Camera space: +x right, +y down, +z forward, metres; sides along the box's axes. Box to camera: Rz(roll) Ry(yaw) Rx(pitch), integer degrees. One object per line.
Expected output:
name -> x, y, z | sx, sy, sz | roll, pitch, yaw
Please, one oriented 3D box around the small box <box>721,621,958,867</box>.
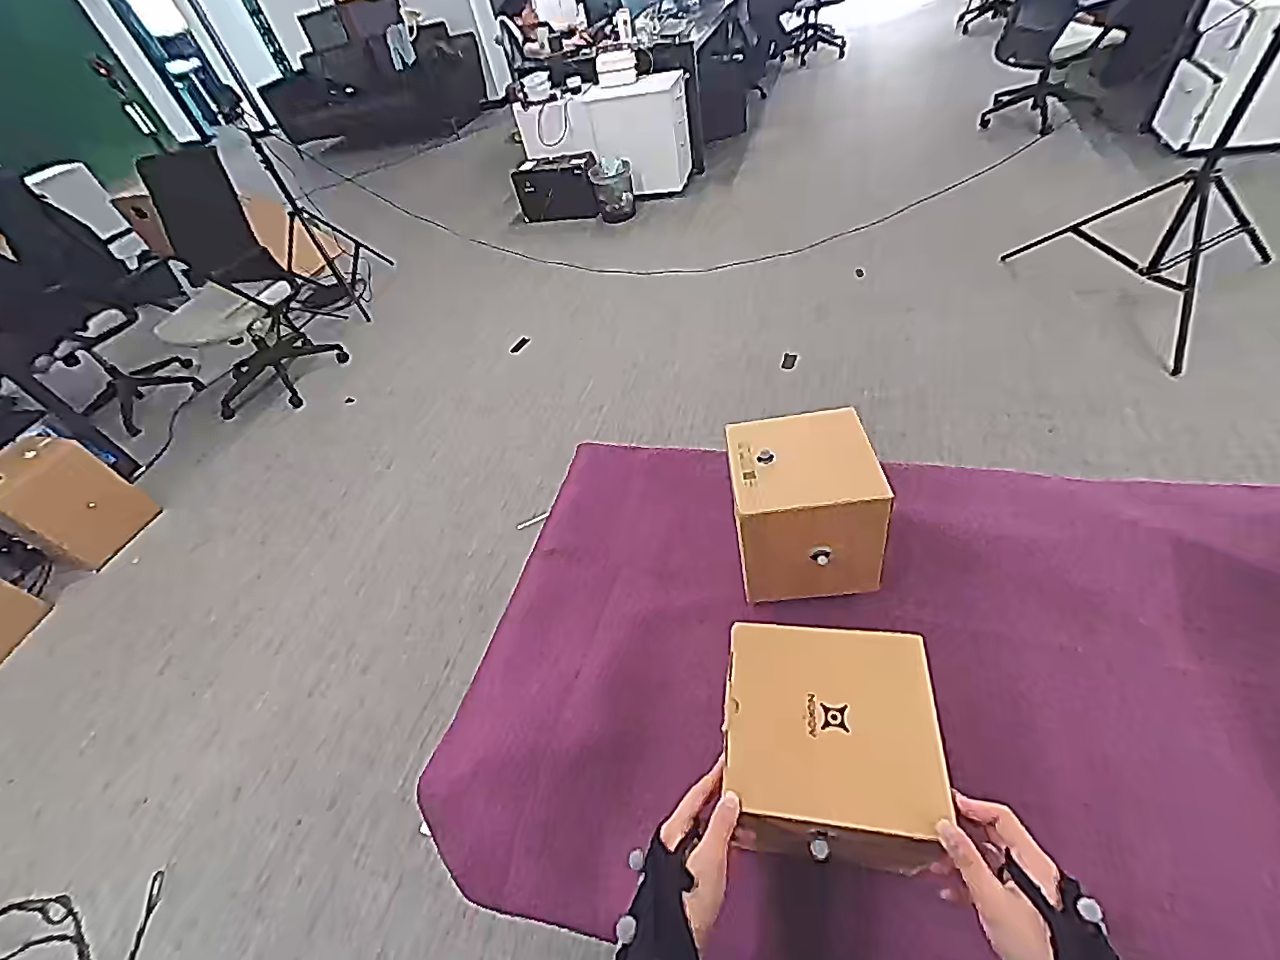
small box -> 0.176, 0.255, 0.523 | 0.179, 0.176, 0.168 | 0, 48, 14
